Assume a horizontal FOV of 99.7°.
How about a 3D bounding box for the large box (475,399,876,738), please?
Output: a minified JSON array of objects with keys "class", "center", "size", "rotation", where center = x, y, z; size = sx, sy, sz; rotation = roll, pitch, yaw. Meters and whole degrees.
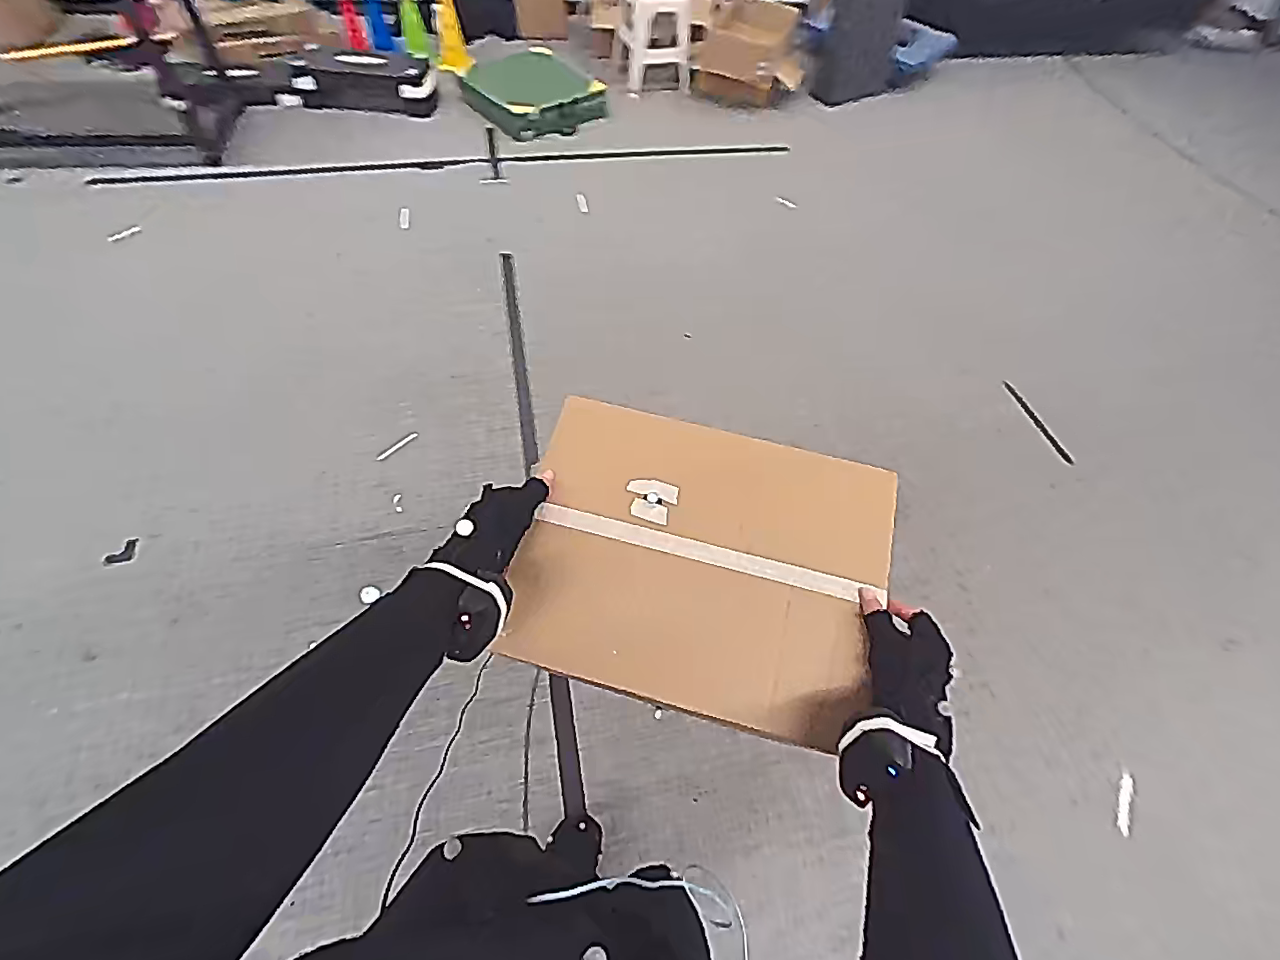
[{"class":"large box","center":[0.057,0.132,0.742],"size":[0.408,0.320,0.320],"rotation":[13,67,7]}]
